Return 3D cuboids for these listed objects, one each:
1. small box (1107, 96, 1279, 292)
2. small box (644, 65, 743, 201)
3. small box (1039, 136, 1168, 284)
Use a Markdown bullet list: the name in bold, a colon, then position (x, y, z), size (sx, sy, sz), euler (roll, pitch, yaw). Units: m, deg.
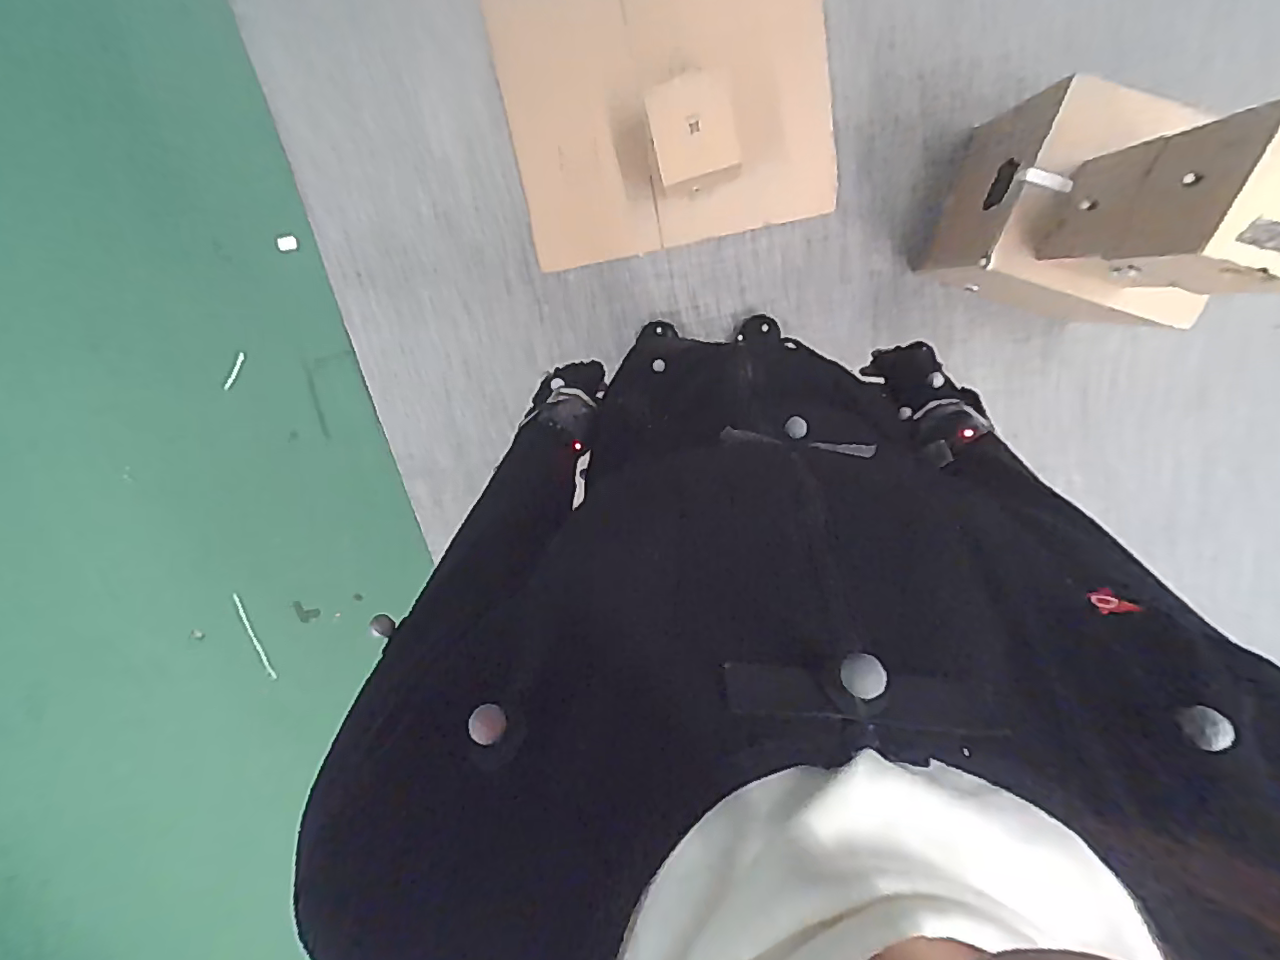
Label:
- **small box**: position (0.779, -0.357, 0.709), size (0.168, 0.176, 0.179), euler (17, 108, -2)
- **small box**: position (0.113, -0.705, 1.122), size (0.168, 0.176, 0.179), euler (-12, 107, 12)
- **small box**: position (0.797, -0.417, 0.864), size (0.179, 0.176, 0.168), euler (12, 107, -1)
